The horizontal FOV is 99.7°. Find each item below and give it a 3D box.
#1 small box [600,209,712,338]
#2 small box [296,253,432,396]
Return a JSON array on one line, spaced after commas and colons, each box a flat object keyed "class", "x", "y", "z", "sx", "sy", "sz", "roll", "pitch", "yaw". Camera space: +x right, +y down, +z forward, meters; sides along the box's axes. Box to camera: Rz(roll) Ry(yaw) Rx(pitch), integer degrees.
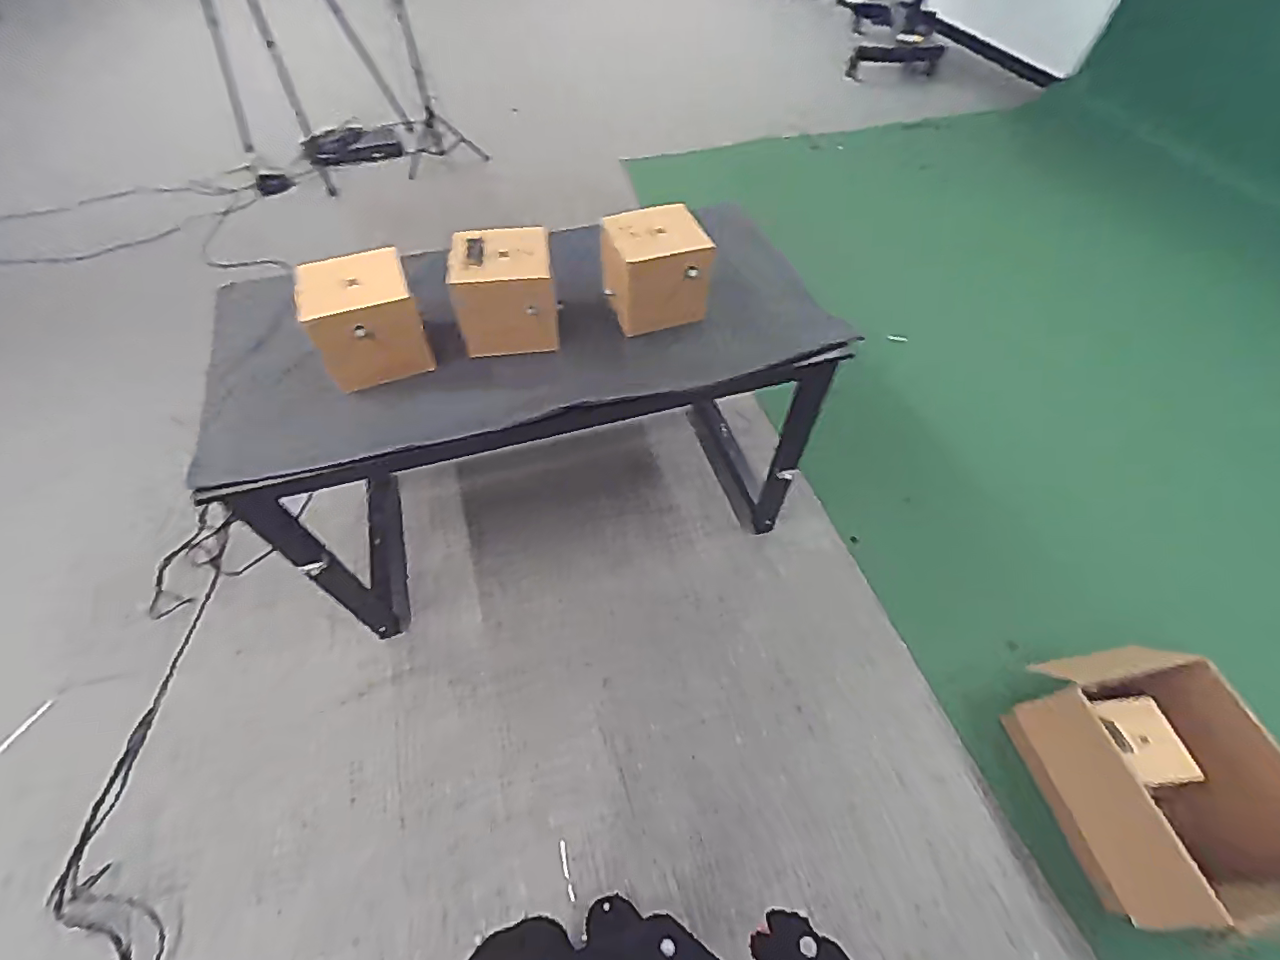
[{"class": "small box", "x": 0.026, "y": -0.415, "z": 1.097, "sx": 0.179, "sy": 0.176, "sz": 0.168, "roll": -16, "pitch": 56, "yaw": -12}, {"class": "small box", "x": -0.502, "y": -0.285, "z": 1.003, "sx": 0.179, "sy": 0.176, "sz": 0.168, "roll": -19, "pitch": 57, "yaw": -13}]
